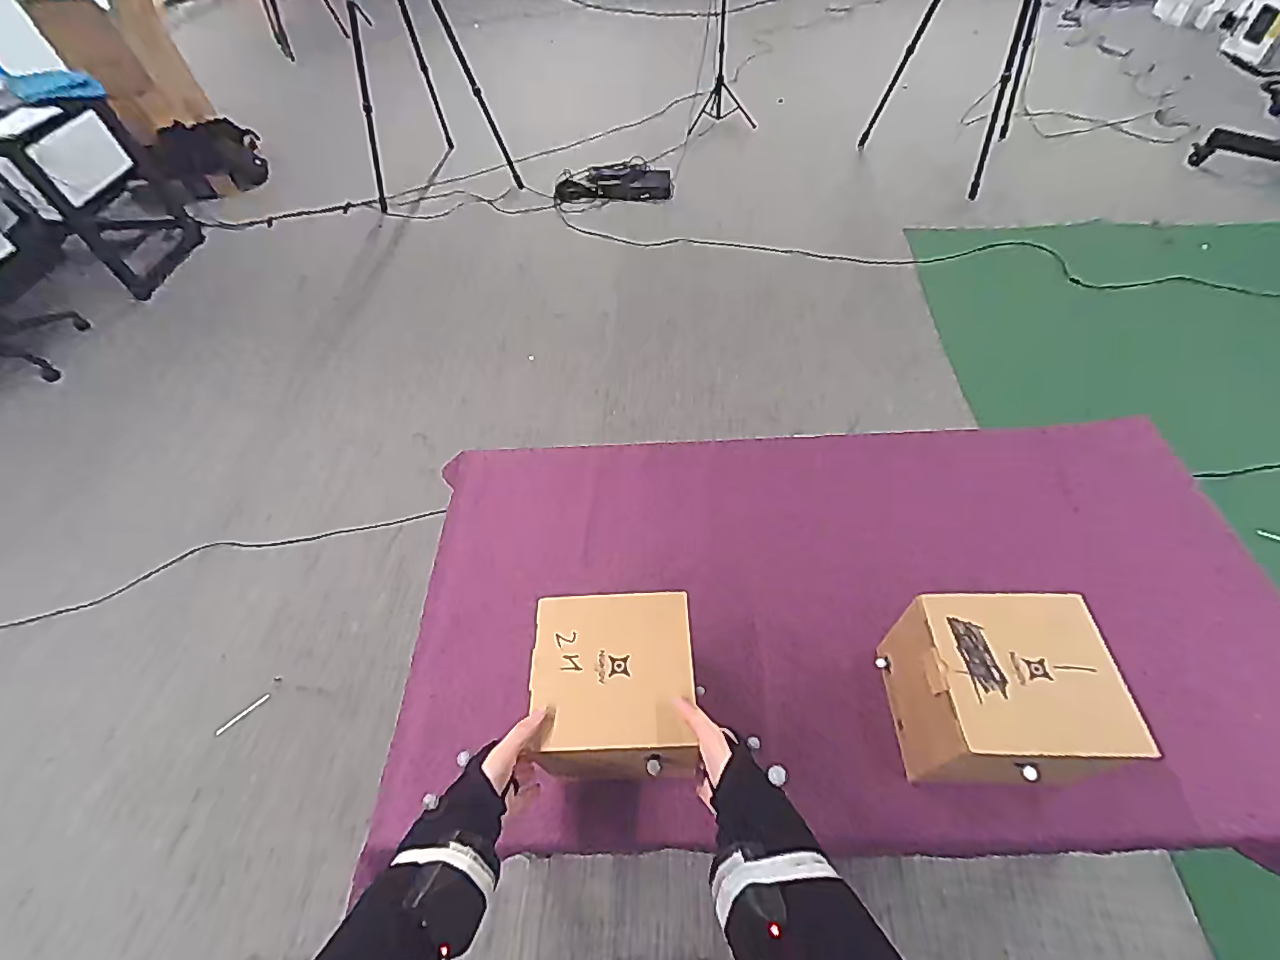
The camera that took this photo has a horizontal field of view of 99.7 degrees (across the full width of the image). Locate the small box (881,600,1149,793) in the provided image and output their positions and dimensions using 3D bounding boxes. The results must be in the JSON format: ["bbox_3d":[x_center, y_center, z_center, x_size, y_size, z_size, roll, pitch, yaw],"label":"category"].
[{"bbox_3d":[0.393,0.249,0.615,0.179,0.176,0.168,0,52,3],"label":"small box"}]

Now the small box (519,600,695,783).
[{"bbox_3d":[-0.030,0.254,0.643,0.179,0.176,0.168,-2,52,2],"label":"small box"}]
